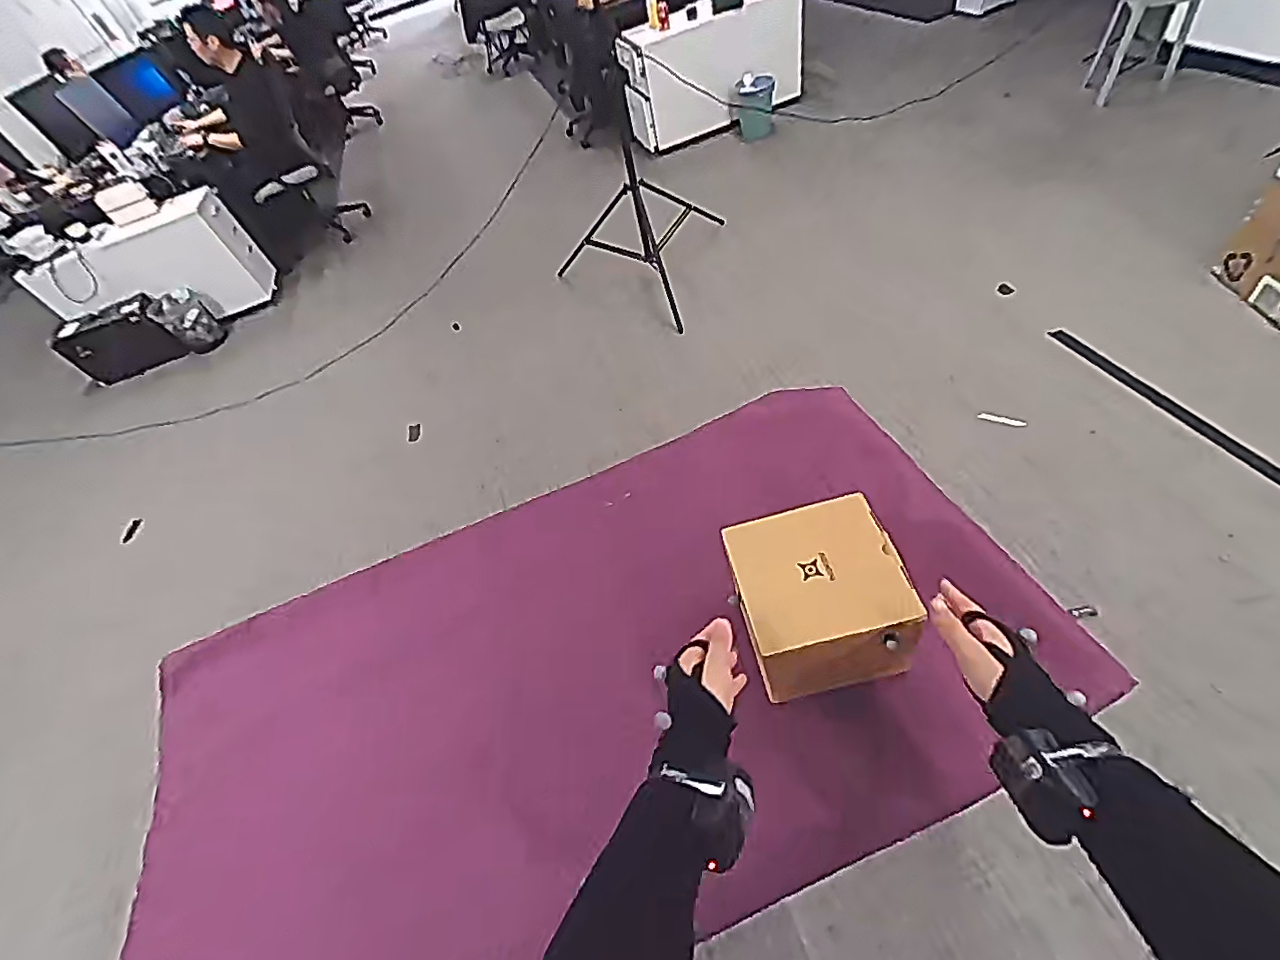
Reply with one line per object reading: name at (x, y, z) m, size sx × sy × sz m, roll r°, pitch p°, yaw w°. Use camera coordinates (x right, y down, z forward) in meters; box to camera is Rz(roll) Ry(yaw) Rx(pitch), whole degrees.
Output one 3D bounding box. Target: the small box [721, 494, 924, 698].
small box at (0.213, 0.148, 0.663) m, size 0.179 × 0.176 × 0.168 m, roll -16°, pitch 50°, yaw 4°
